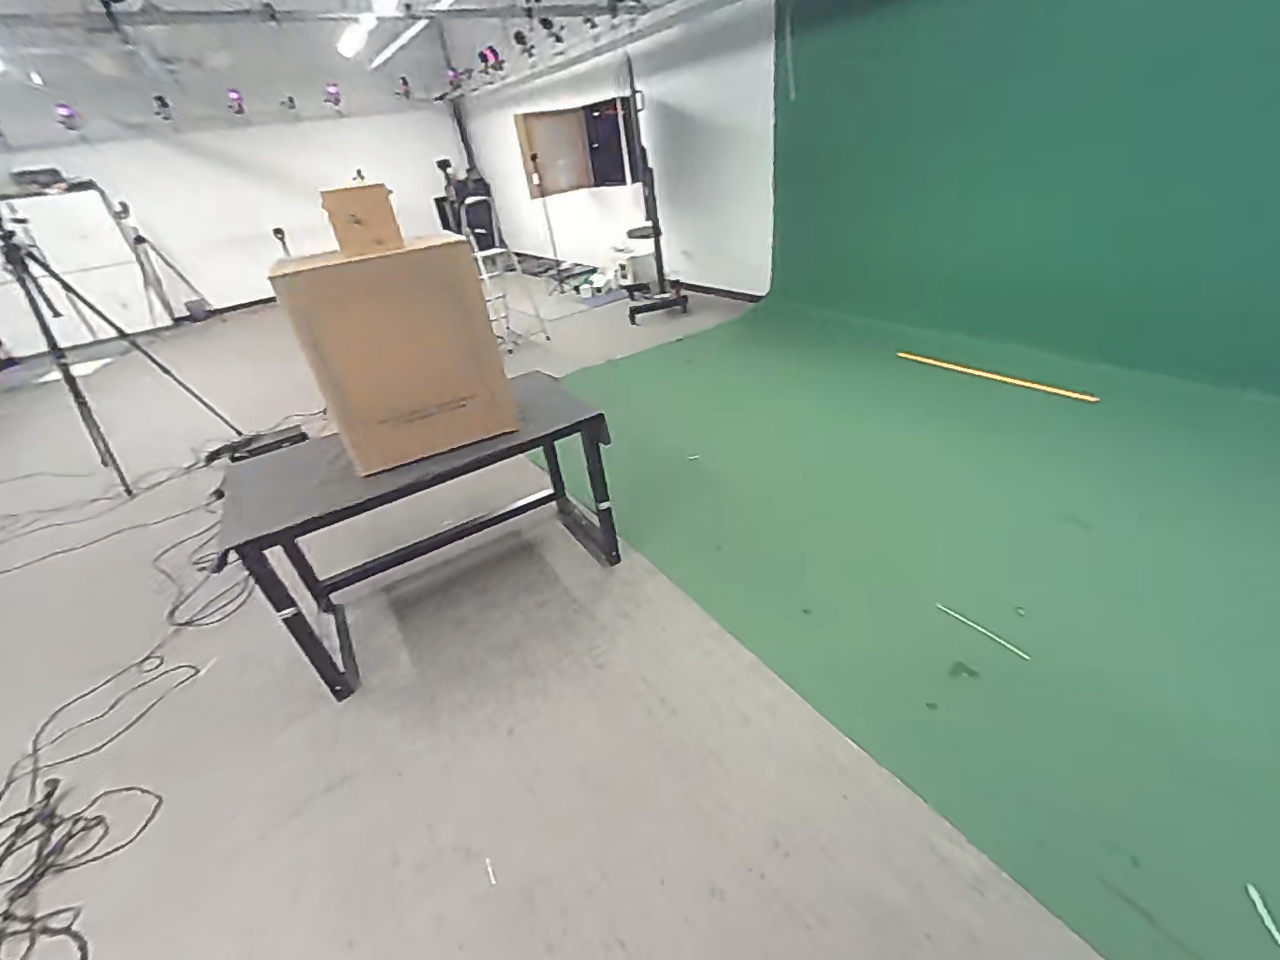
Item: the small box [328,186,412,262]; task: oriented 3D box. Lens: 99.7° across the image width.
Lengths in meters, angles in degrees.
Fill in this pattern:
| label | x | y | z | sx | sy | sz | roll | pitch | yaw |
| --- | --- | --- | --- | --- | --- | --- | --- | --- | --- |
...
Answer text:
| label | x | y | z | sx | sy | sz | roll | pitch | yaw |
| --- | --- | --- | --- | --- | --- | --- | --- | --- | --- |
| small box | -0.760 | -0.727 | 1.539 | 0.168 | 0.176 | 0.179 | -17 | 34 | -15 |
